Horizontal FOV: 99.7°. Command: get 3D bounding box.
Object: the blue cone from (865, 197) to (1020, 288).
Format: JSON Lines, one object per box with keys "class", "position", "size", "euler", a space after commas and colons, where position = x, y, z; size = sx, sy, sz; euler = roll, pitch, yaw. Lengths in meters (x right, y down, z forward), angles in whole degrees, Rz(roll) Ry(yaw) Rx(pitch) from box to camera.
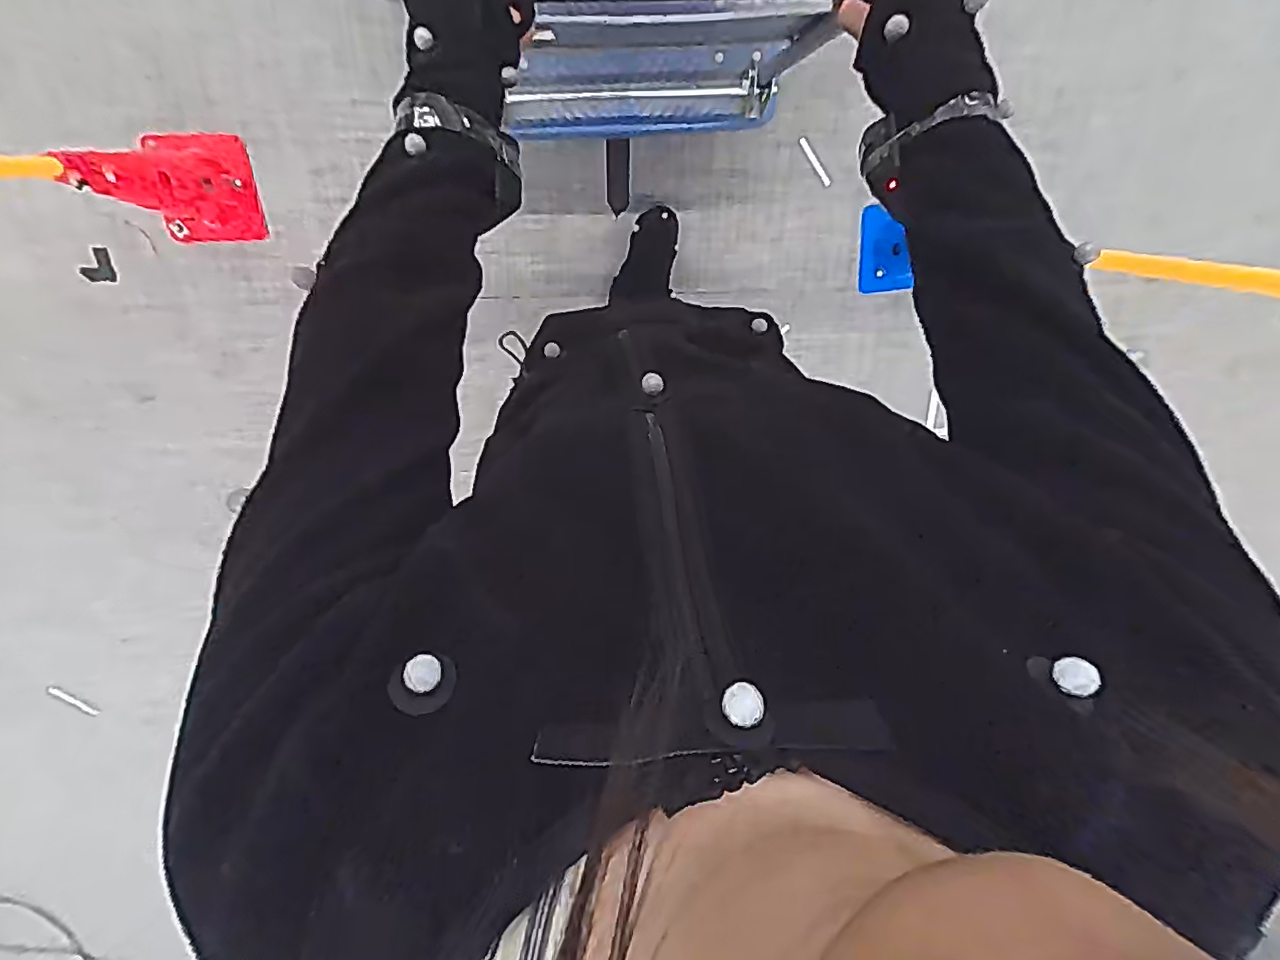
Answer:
{"class": "blue cone", "position": [0.650, -0.507, 1.148], "size": [0.193, 0.380, 0.192], "euler": [-6, 112, -4]}
